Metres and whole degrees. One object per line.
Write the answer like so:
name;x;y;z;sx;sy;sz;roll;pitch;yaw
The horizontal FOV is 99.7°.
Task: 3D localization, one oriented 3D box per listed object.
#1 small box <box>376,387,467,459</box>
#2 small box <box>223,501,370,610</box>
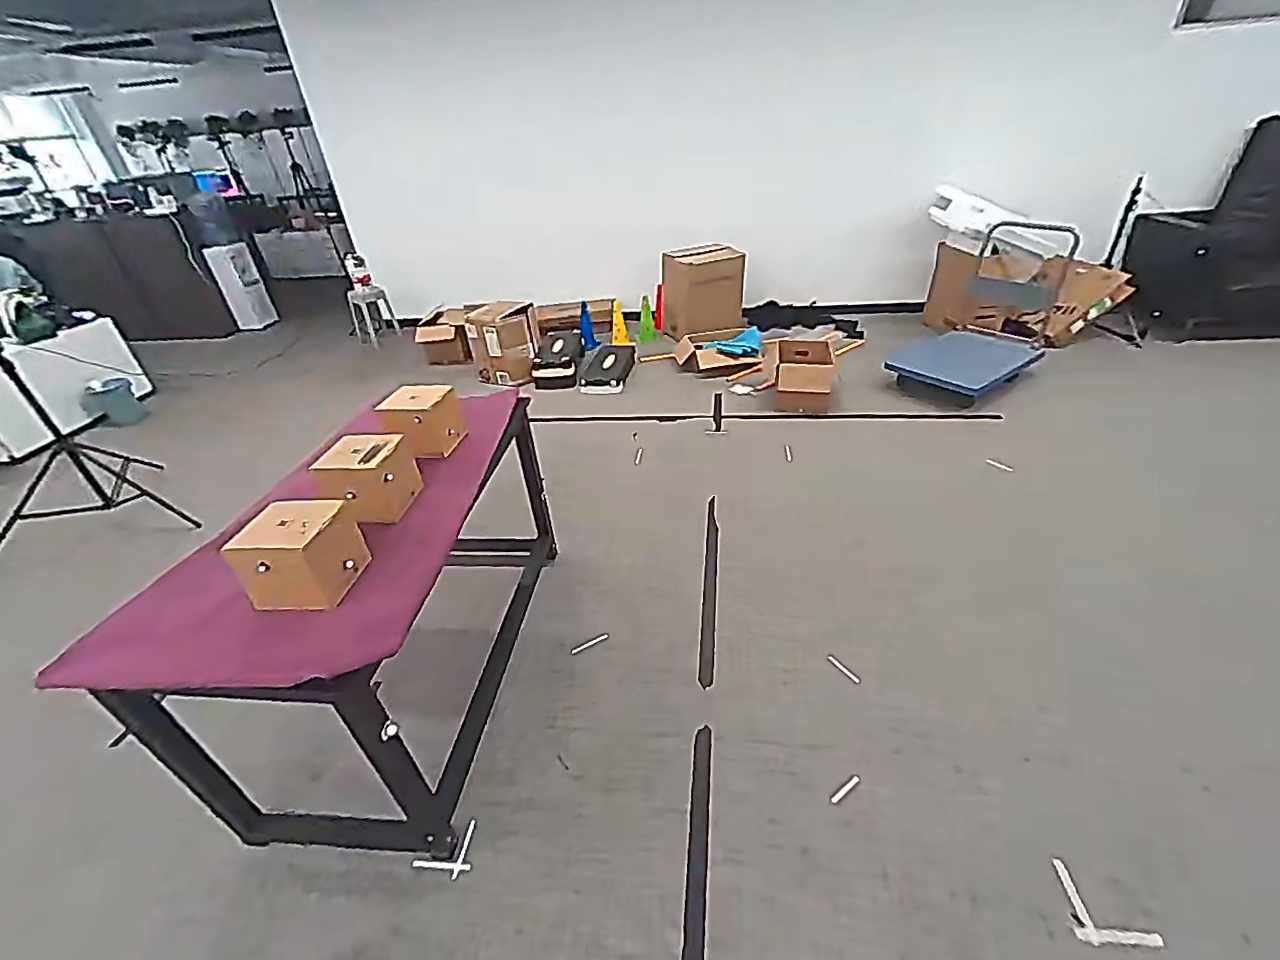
small box;-0.659;-0.173;1.649;0.179;0.176;0.168;1;34;10
small box;-0.716;0.161;1.150;0.179;0.176;0.168;-1;33;5
